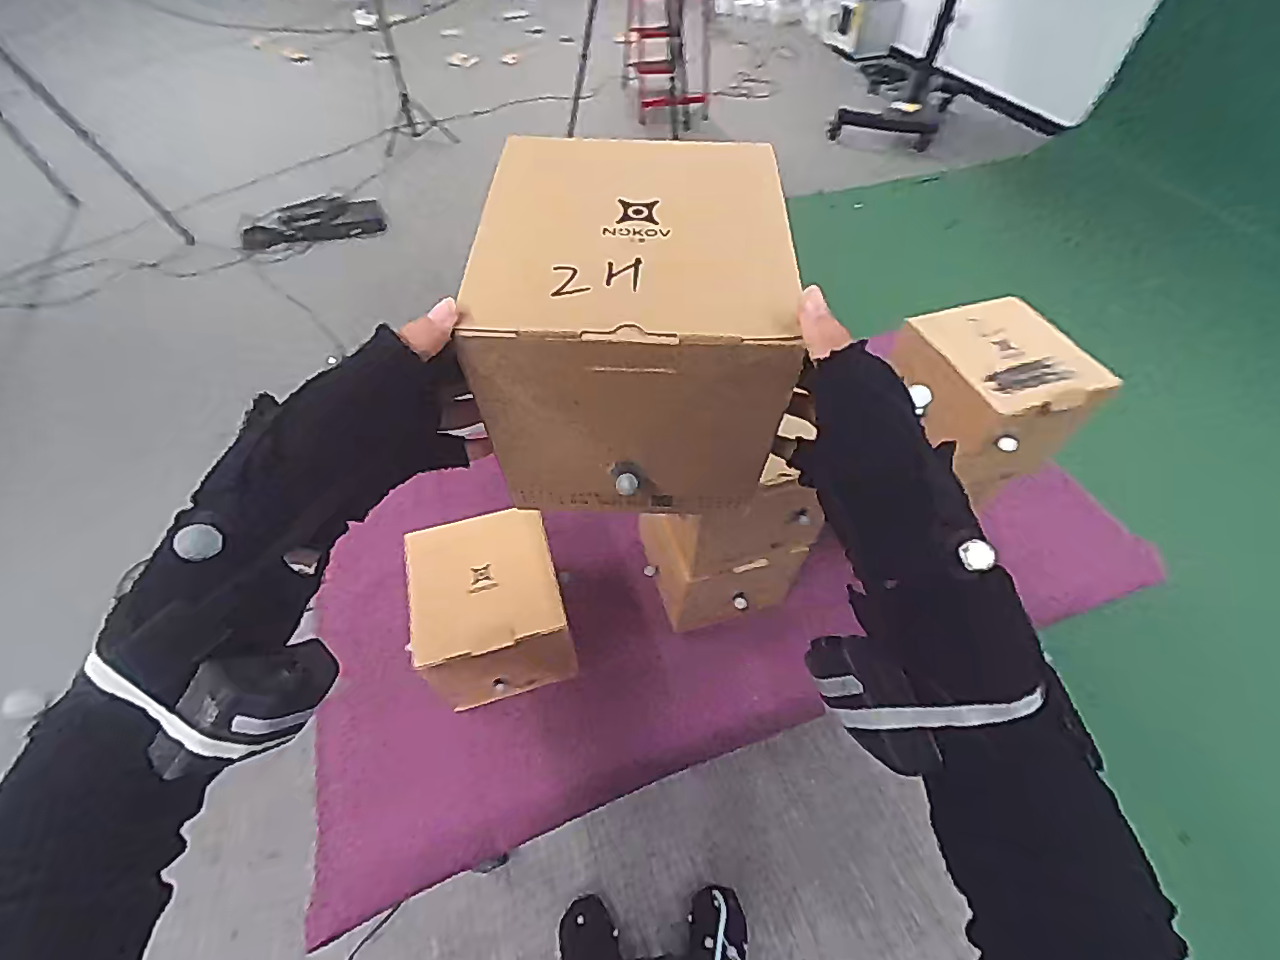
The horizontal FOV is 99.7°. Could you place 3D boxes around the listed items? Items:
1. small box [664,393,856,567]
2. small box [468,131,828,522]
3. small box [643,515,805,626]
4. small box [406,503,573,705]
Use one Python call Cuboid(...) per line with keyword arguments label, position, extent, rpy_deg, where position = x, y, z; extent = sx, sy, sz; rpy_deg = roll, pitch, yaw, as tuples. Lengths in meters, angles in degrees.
Cuboid(label="small box", position=(0.110, -0.017, 0.624), extent=(0.168, 0.176, 0.179), rpy_deg=(-14, 55, -12))
Cuboid(label="small box", position=(0.006, -0.092, 0.353), extent=(0.168, 0.176, 0.179), rpy_deg=(3, 59, 1))
Cuboid(label="small box", position=(0.105, 0.086, 0.755), extent=(0.168, 0.176, 0.179), rpy_deg=(-16, 55, -8))
Cuboid(label="small box", position=(-0.187, 0.160, 0.690), extent=(0.168, 0.176, 0.179), rpy_deg=(-13, 56, -12))
